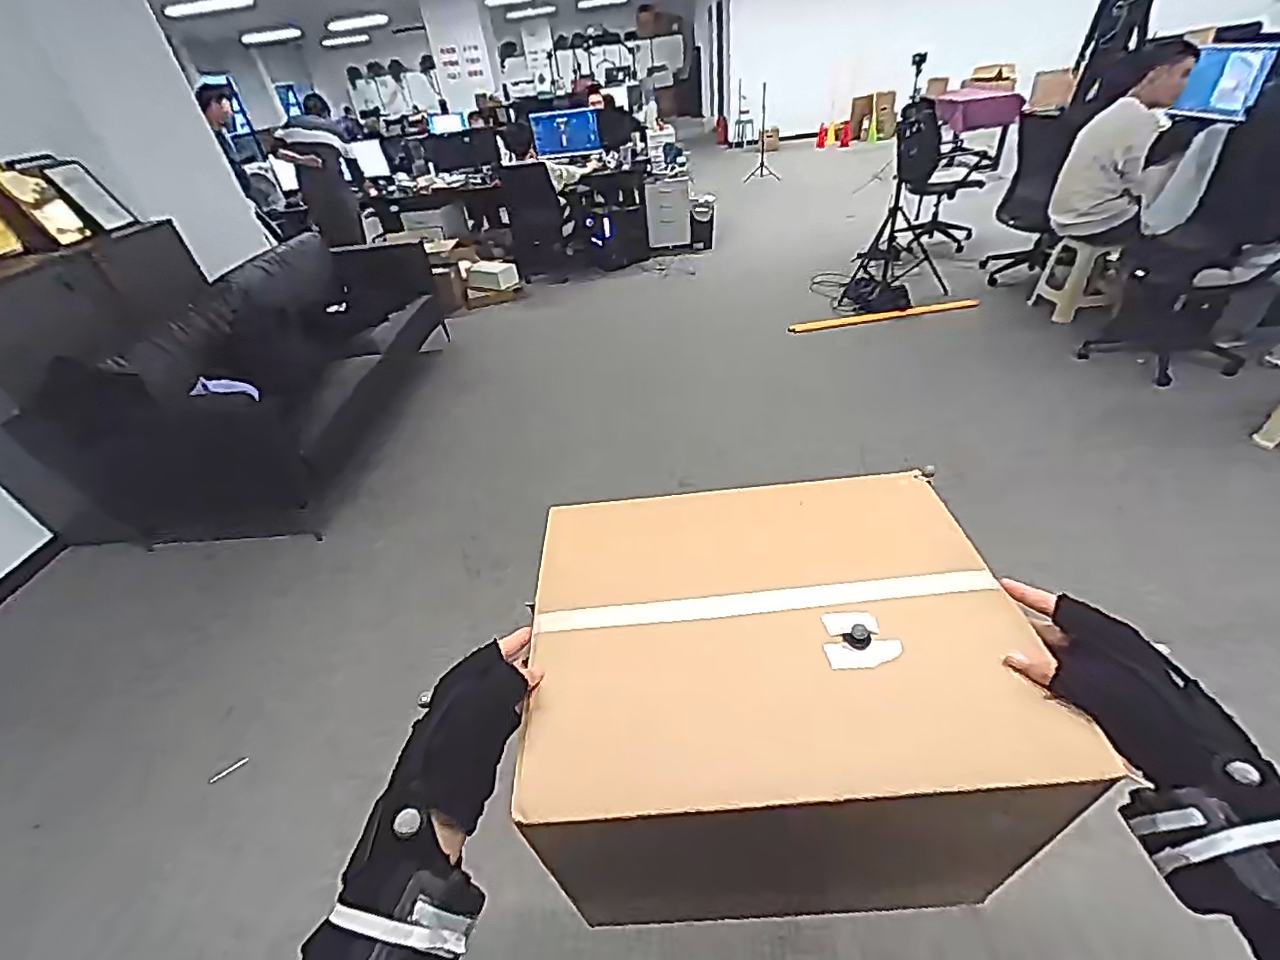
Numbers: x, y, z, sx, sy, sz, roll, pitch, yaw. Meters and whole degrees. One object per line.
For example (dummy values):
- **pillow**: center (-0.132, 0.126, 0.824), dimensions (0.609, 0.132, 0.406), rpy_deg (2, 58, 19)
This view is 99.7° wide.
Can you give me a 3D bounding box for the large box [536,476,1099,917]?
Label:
- **large box**: center (0.126, 0.226, 0.582), dimensions (0.408, 0.320, 0.320), rpy_deg (-5, 40, 1)
